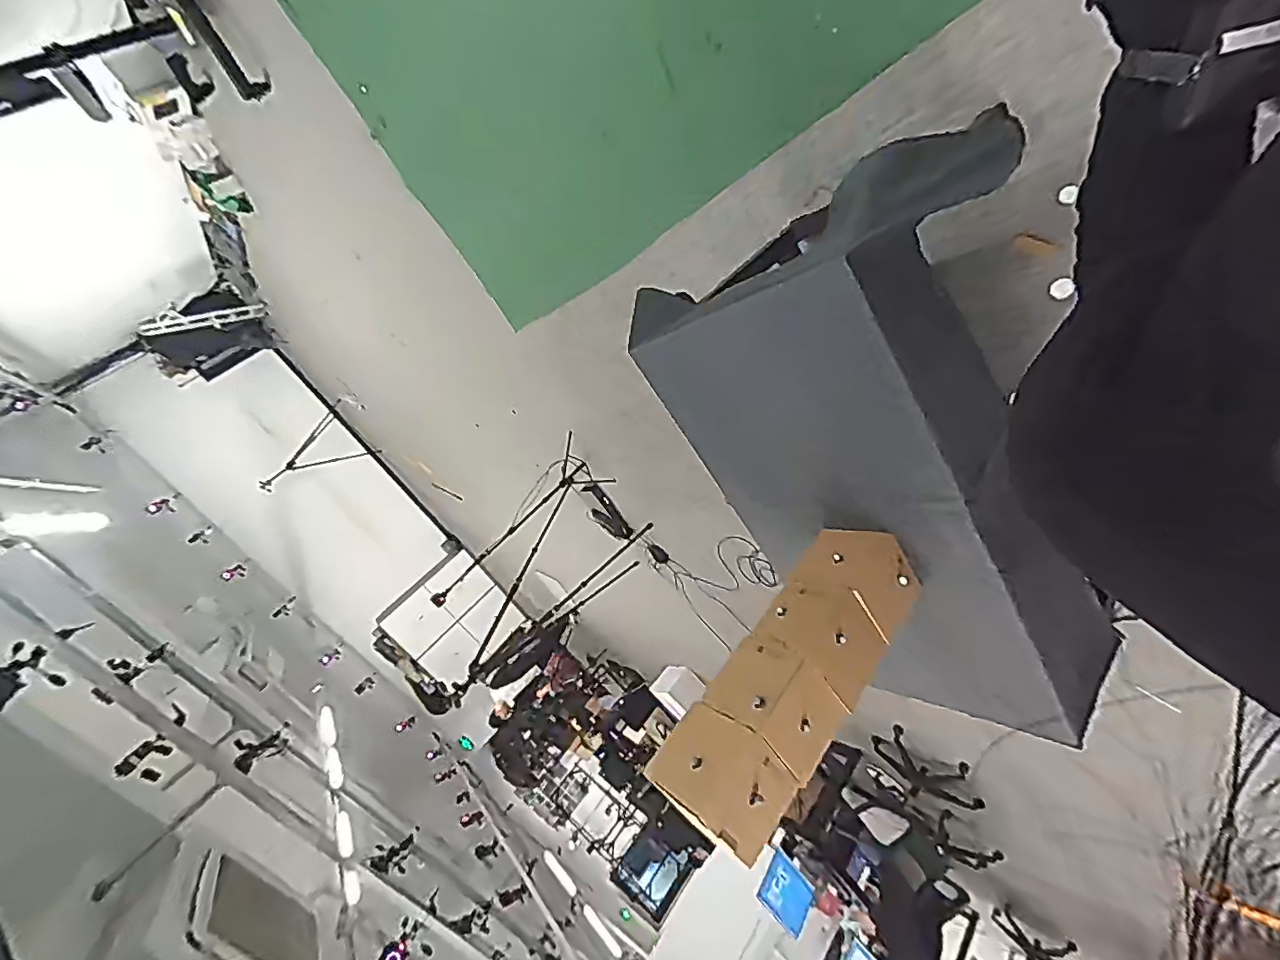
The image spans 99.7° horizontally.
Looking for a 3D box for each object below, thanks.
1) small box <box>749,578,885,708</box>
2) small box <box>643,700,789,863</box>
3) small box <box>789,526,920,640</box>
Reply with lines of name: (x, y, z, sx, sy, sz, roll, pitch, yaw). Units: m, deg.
small box: (0.364, 0.322, 1.107, 0.179, 0.176, 0.168, 53, 154, -18)
small box: (0.146, 0.534, 0.986, 0.168, 0.176, 0.179, 53, 153, -18)
small box: (0.467, 0.214, 1.173, 0.179, 0.176, 0.168, -3, 128, 56)
